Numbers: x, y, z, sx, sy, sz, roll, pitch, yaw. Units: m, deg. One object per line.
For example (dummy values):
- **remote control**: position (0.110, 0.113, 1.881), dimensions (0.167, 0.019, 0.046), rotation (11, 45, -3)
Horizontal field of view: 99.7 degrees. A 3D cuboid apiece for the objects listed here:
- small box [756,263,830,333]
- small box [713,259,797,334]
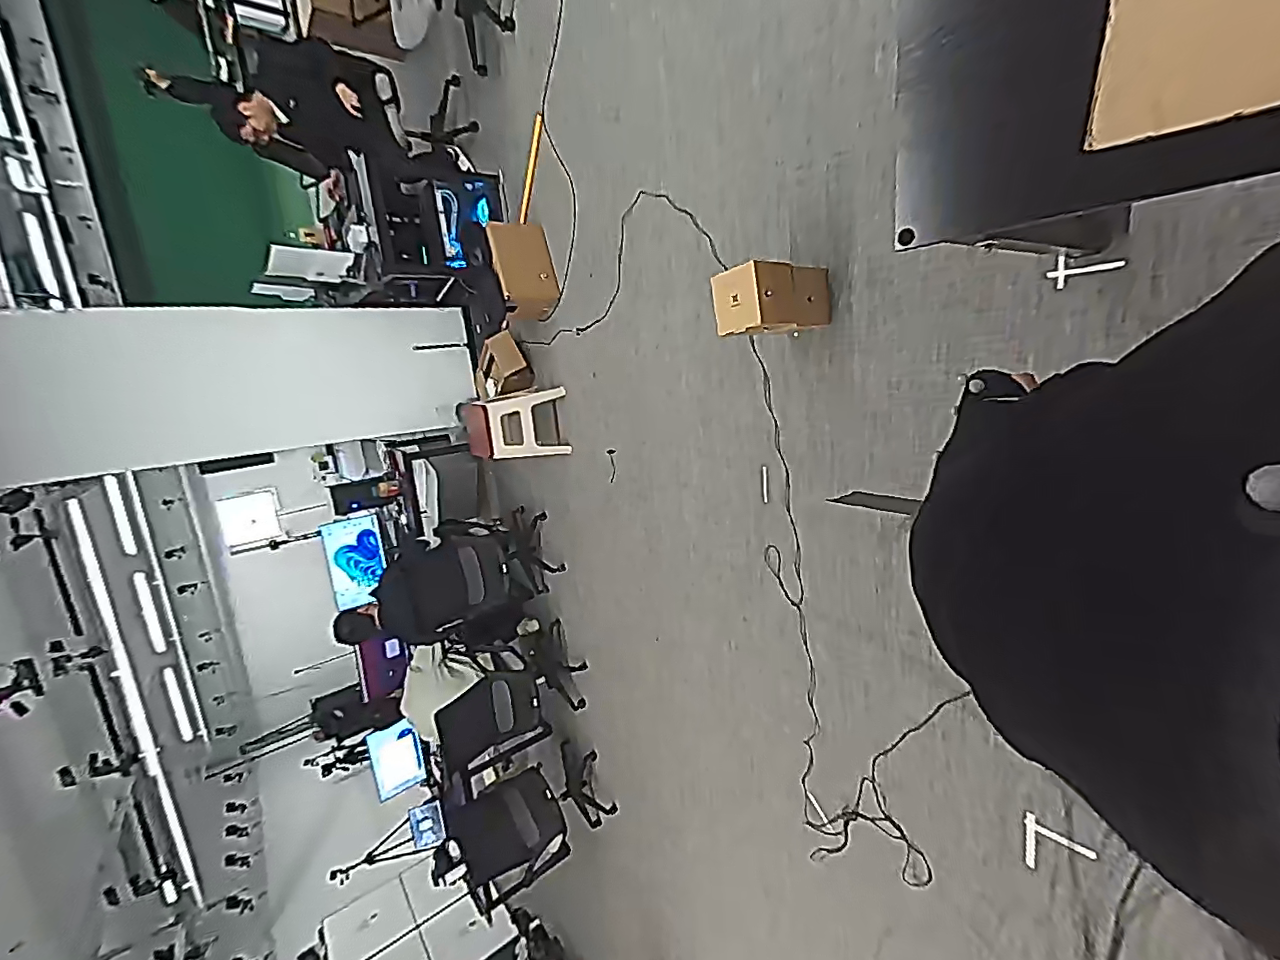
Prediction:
- **small box**: position (0.469, -0.559, 1.675), dimensions (0.168, 0.176, 0.179), rotation (5, 106, 53)
- **small box**: position (0.339, -0.533, 1.579), dimensions (0.168, 0.176, 0.179), rotation (1, 101, 53)
